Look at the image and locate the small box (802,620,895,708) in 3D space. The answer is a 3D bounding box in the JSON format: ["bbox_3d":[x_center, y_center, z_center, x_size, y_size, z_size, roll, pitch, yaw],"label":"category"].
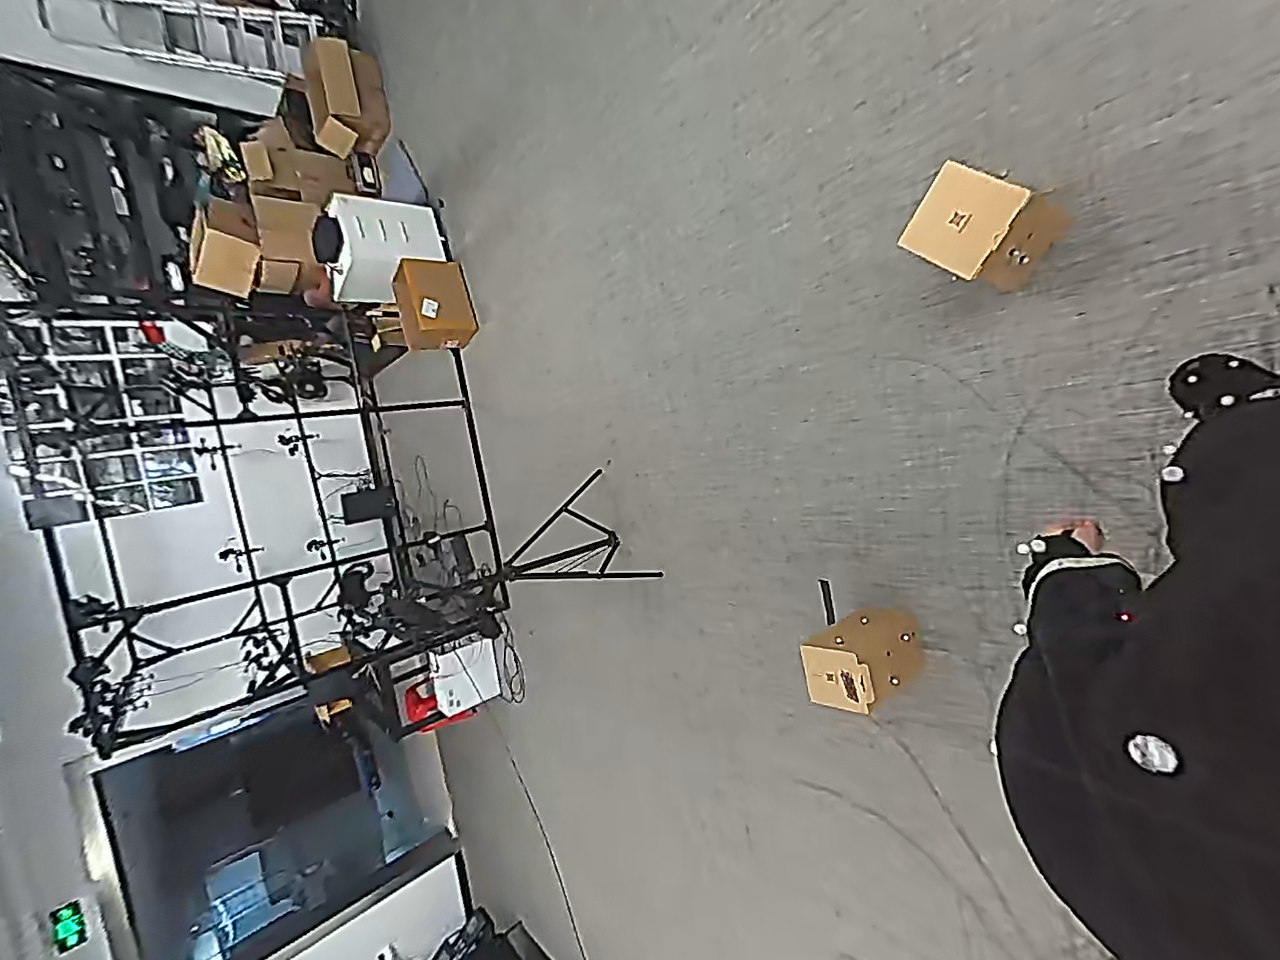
[{"bbox_3d":[0.579,0.496,1.487,0.179,0.176,0.168,-11,92,51],"label":"small box"}]

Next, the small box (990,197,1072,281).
[{"bbox_3d":[0.793,-0.551,1.190,0.179,0.176,0.168,48,132,30],"label":"small box"}]

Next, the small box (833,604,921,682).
[{"bbox_3d":[0.703,0.472,1.592,0.179,0.176,0.168,-12,90,52],"label":"small box"}]

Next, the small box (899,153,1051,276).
[{"bbox_3d":[0.670,-0.524,1.085,0.179,0.176,0.168,46,131,29],"label":"small box"}]
